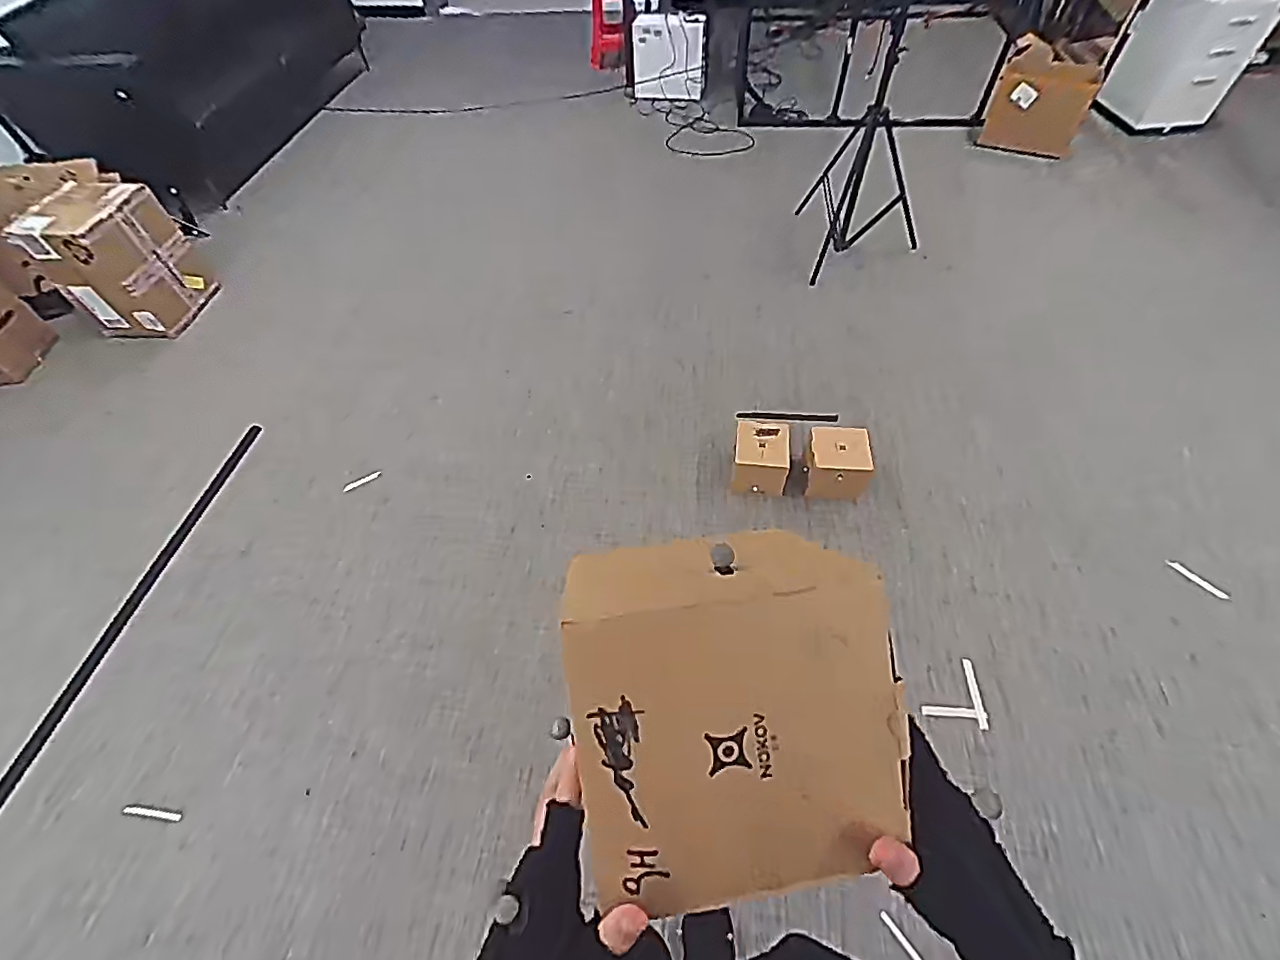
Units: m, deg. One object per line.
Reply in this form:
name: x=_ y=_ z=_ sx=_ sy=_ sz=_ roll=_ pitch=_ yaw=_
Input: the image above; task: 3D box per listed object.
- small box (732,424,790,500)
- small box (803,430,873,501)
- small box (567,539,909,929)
small box: x=0.392 y=-0.058 z=1.767 sx=0.168 sy=0.176 sz=0.179 roll=5 pitch=56 yaw=7
small box: x=0.629 y=-0.044 z=1.746 sx=0.179 sy=0.176 sz=0.168 roll=3 pitch=56 yaw=5
small box: x=0.047 y=0.140 z=0.366 sx=0.179 sy=0.176 sz=0.168 roll=-7 pitch=93 yaw=-5
